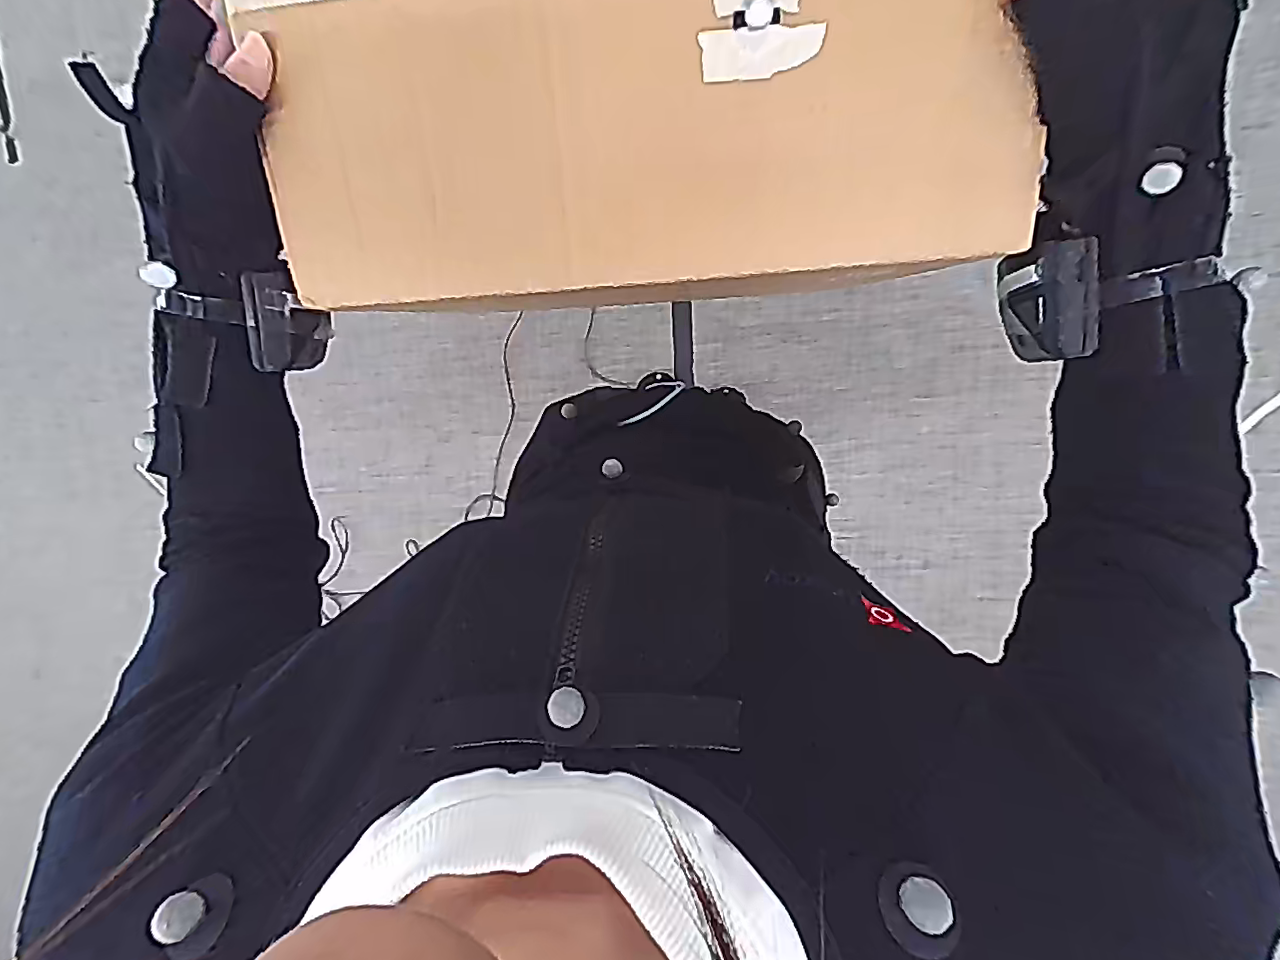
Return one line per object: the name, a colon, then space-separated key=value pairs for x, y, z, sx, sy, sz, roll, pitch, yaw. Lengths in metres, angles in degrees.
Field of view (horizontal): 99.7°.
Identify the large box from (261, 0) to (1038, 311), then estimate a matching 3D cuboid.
large box: x=0.004 y=-0.309 z=0.412 sx=0.408 sy=0.320 sz=0.320 roll=-3 pitch=107 yaw=6
